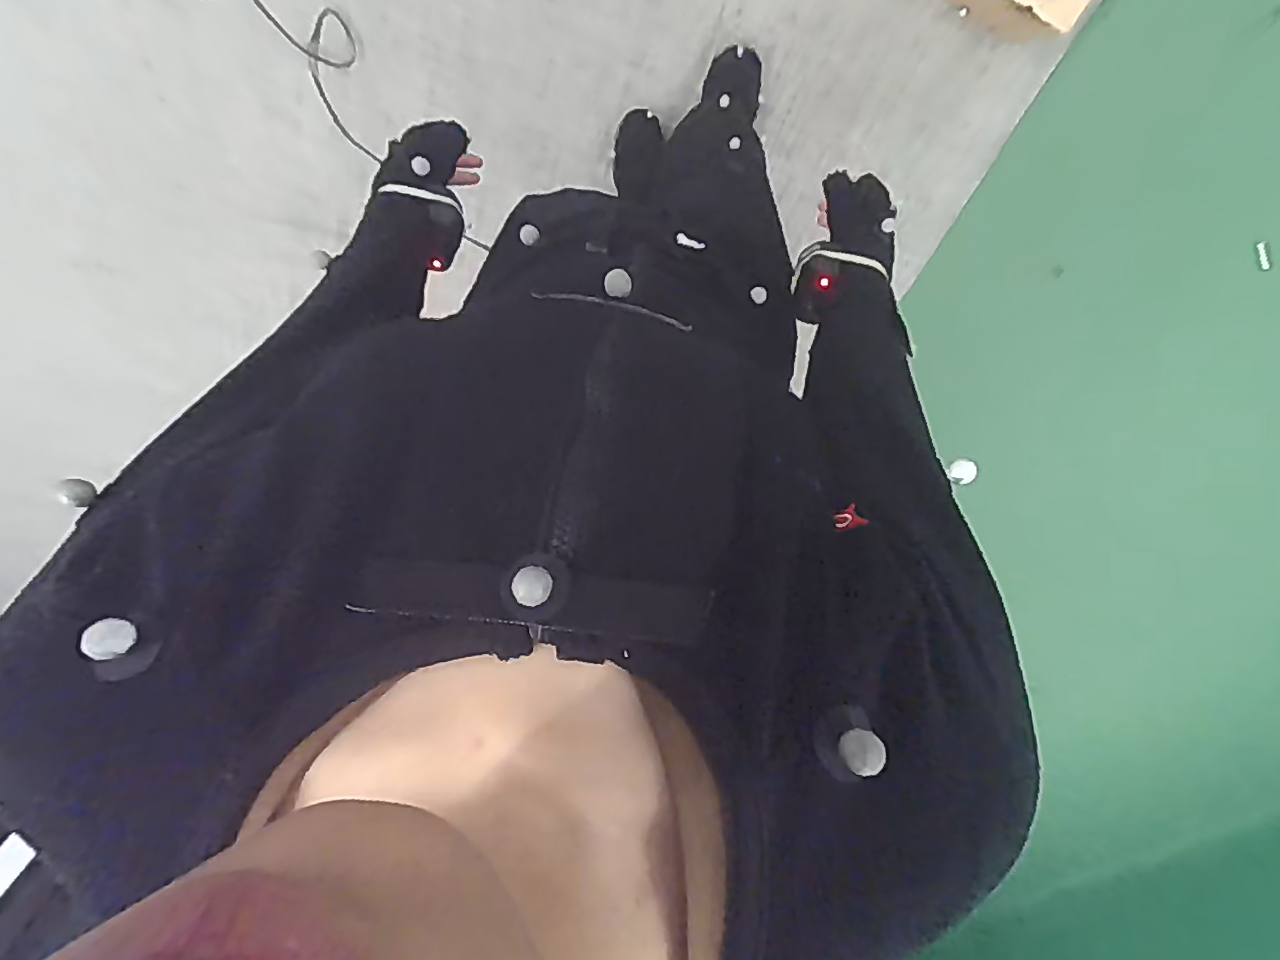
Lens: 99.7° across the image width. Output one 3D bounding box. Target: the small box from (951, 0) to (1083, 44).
[{"bbox_3d":[0.670,-0.885,0.923,0.168,0.176,0.179,20,123,-11],"label":"small box"}]
